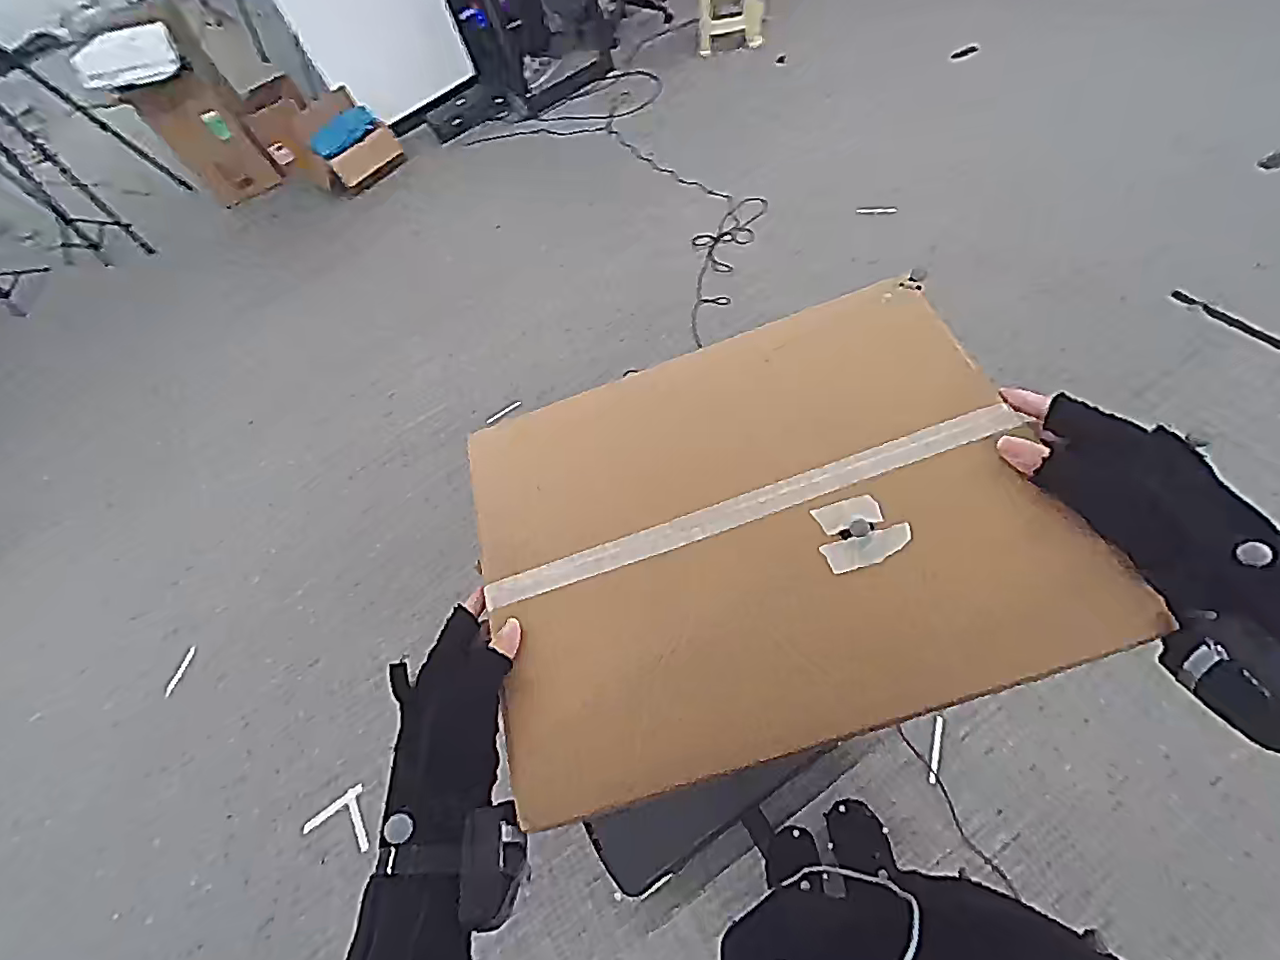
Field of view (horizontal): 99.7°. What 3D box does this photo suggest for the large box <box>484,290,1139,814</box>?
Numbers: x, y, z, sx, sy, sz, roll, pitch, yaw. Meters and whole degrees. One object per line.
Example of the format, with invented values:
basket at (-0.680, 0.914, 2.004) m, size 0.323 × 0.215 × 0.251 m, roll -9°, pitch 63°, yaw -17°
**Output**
large box at (0.111, 0.092, 0.541) m, size 0.408 × 0.320 × 0.320 m, roll -19°, pitch 61°, yaw 4°
